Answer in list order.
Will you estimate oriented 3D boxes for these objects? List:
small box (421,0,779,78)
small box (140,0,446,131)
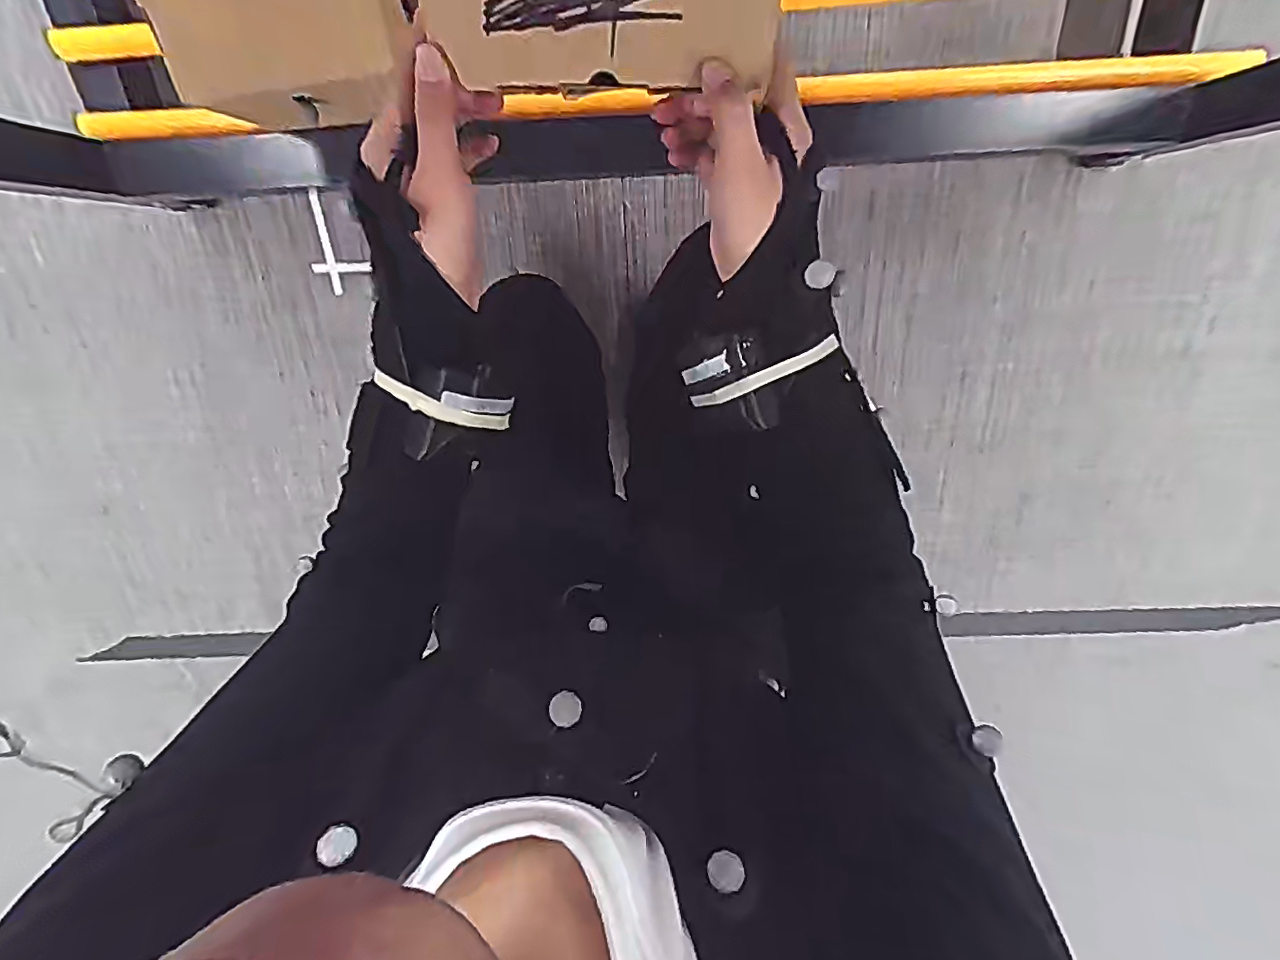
[{"bbox_3d":[-0.016,-0.315,0.267,0.168,0.176,0.179,0,128,-2],"label":"small box"},{"bbox_3d":[-0.279,-0.410,0.451,0.179,0.176,0.168,-7,113,2],"label":"small box"}]
